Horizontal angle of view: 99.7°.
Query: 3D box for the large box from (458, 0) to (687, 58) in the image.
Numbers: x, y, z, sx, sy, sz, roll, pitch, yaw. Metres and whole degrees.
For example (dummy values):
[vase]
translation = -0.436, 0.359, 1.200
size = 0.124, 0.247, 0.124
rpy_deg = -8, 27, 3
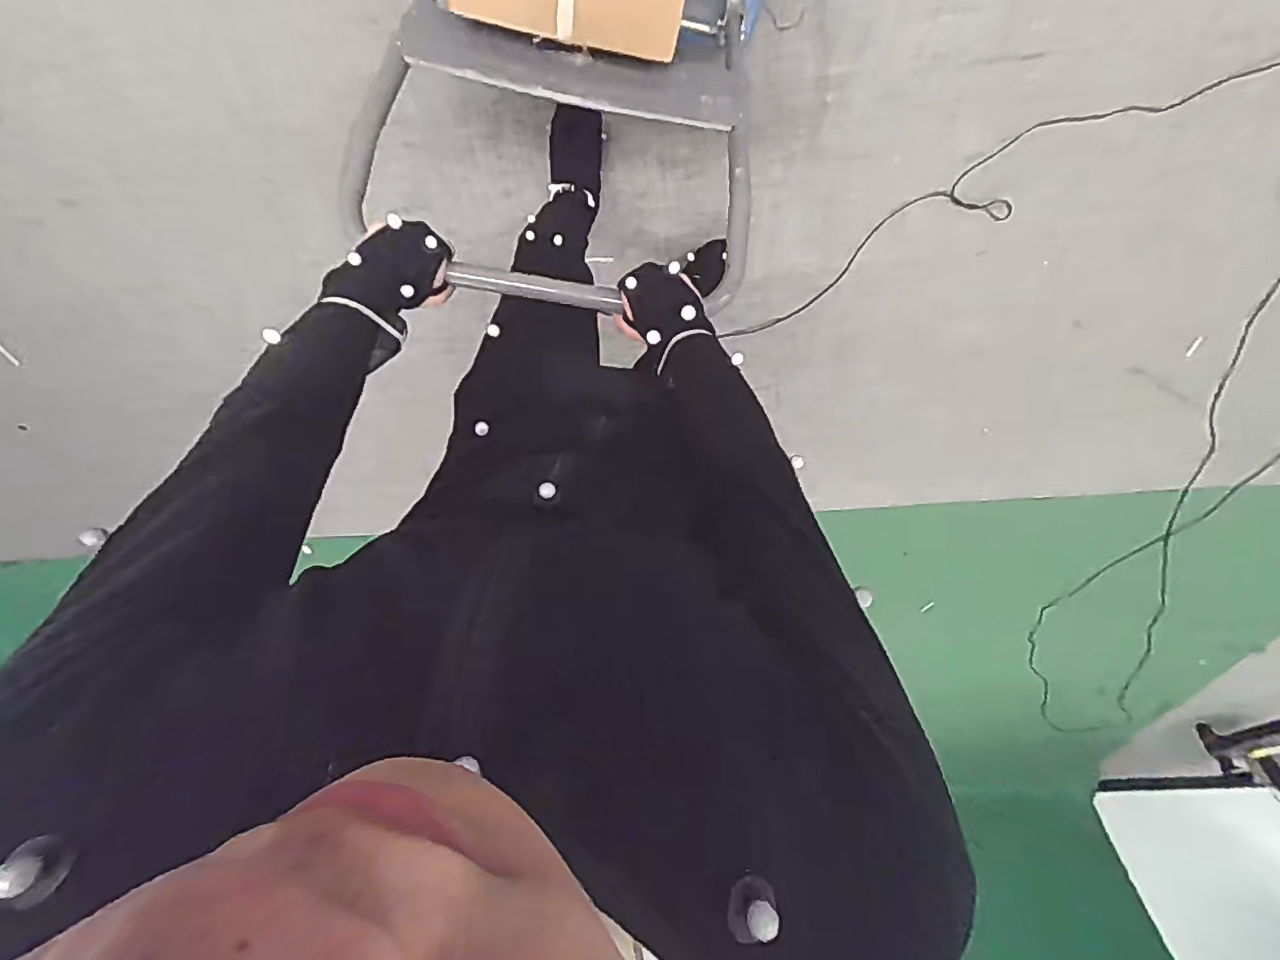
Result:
[large box]
translation = -0.063, -0.856, 0.679
size = 0.320, 0.320, 0.408
rpy_deg = 7, 149, -7
